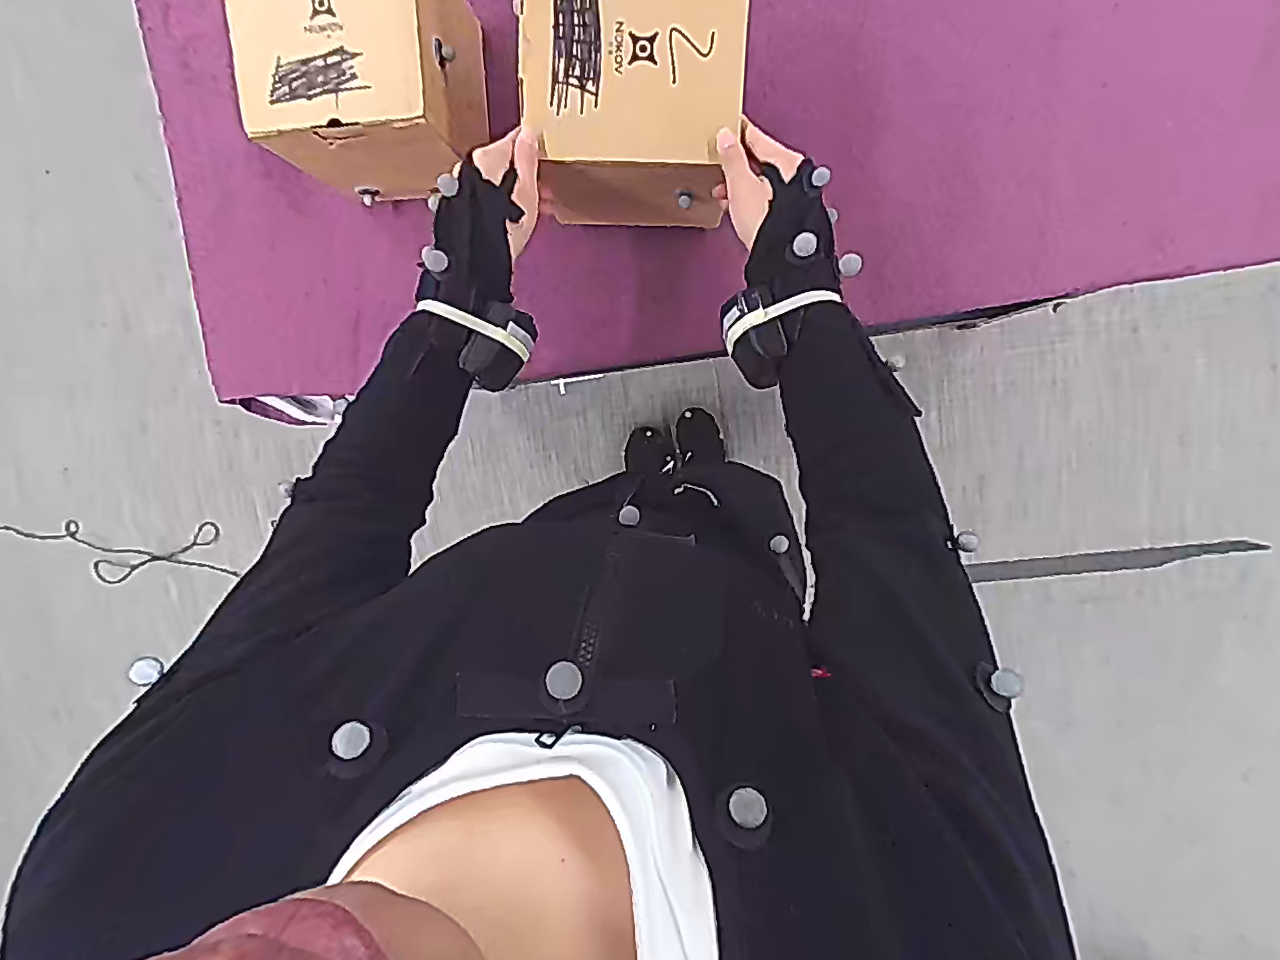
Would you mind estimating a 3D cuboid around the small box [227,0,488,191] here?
[{"bbox_3d":[-0.258,-0.401,0.528,0.168,0.176,0.179,-2,98,4],"label":"small box"}]
